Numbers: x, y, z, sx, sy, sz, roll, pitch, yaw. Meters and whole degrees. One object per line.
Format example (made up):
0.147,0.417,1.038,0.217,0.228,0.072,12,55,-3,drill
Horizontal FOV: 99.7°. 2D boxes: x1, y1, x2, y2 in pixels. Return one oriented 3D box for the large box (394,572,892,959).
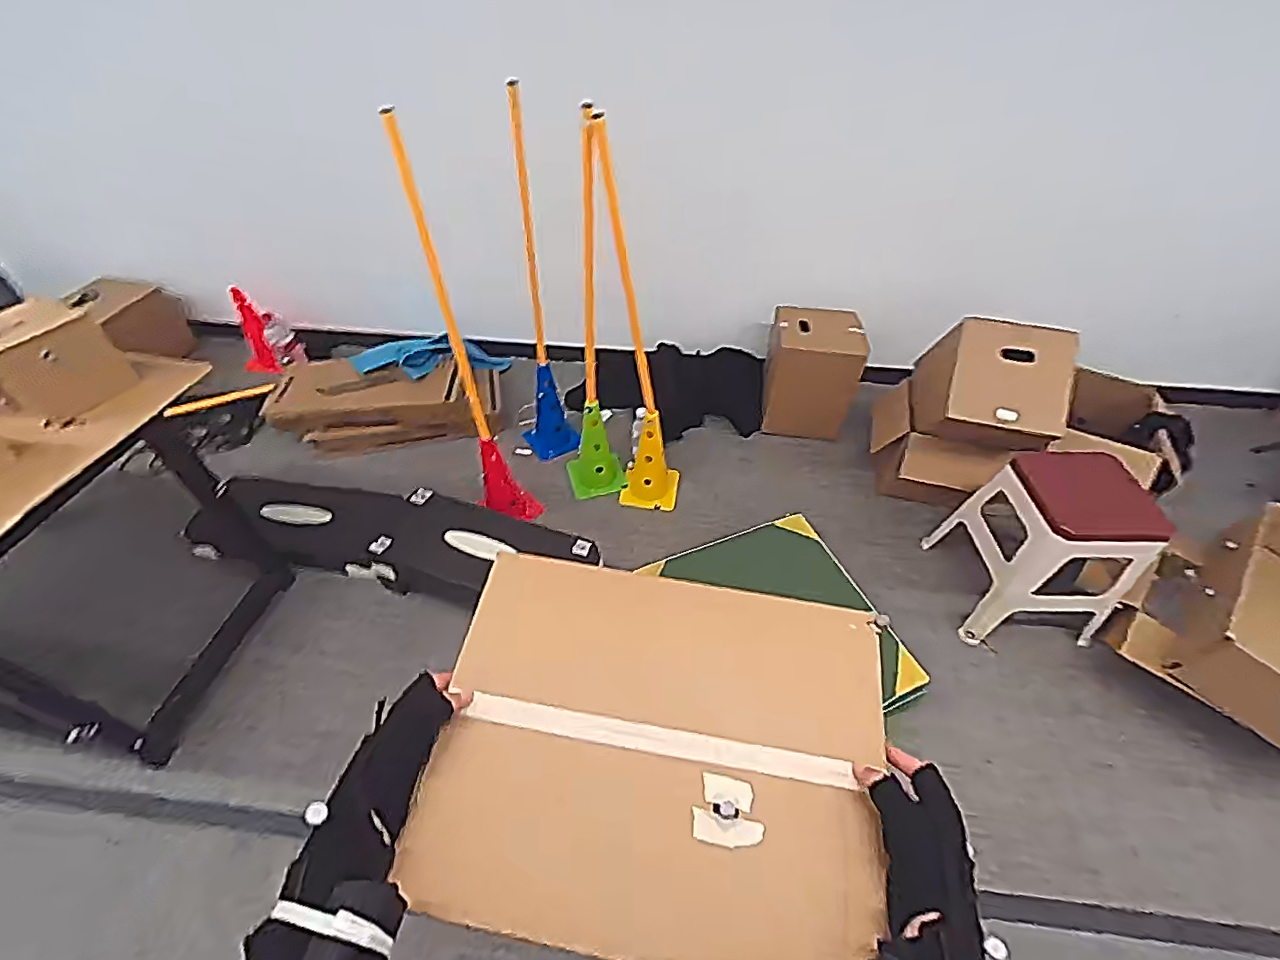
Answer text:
0.016,0.335,0.622,0.408,0.320,0.320,9,57,5,large box
